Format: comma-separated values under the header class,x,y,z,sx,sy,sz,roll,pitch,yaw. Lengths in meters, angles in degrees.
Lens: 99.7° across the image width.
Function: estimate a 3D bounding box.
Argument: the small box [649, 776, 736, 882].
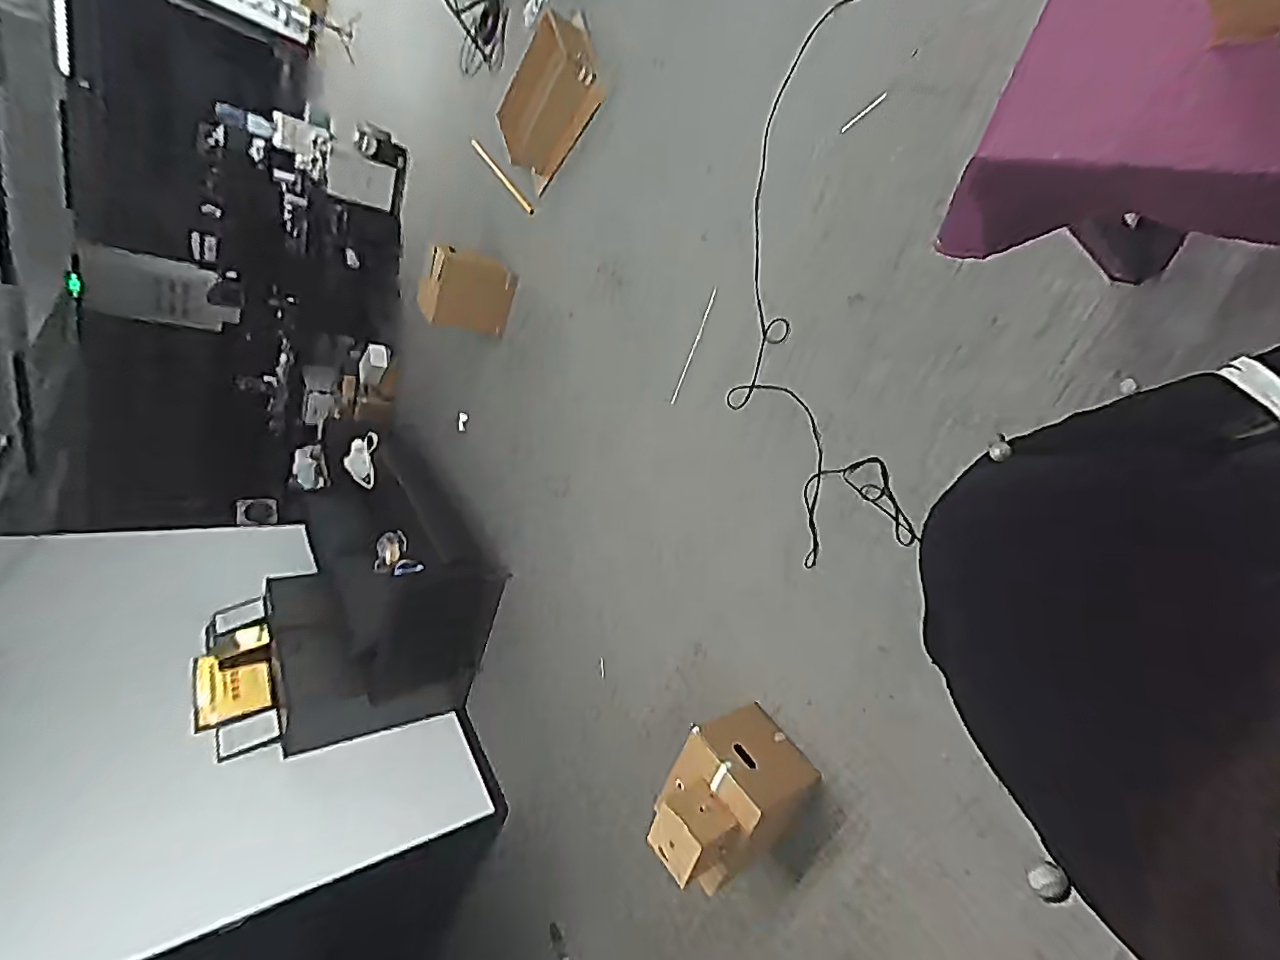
class,x,y,z,sx,sy,sz,roll,pitch,yaw
small box,0.160,1.028,1.611,0.168,0.176,0.179,37,116,42
